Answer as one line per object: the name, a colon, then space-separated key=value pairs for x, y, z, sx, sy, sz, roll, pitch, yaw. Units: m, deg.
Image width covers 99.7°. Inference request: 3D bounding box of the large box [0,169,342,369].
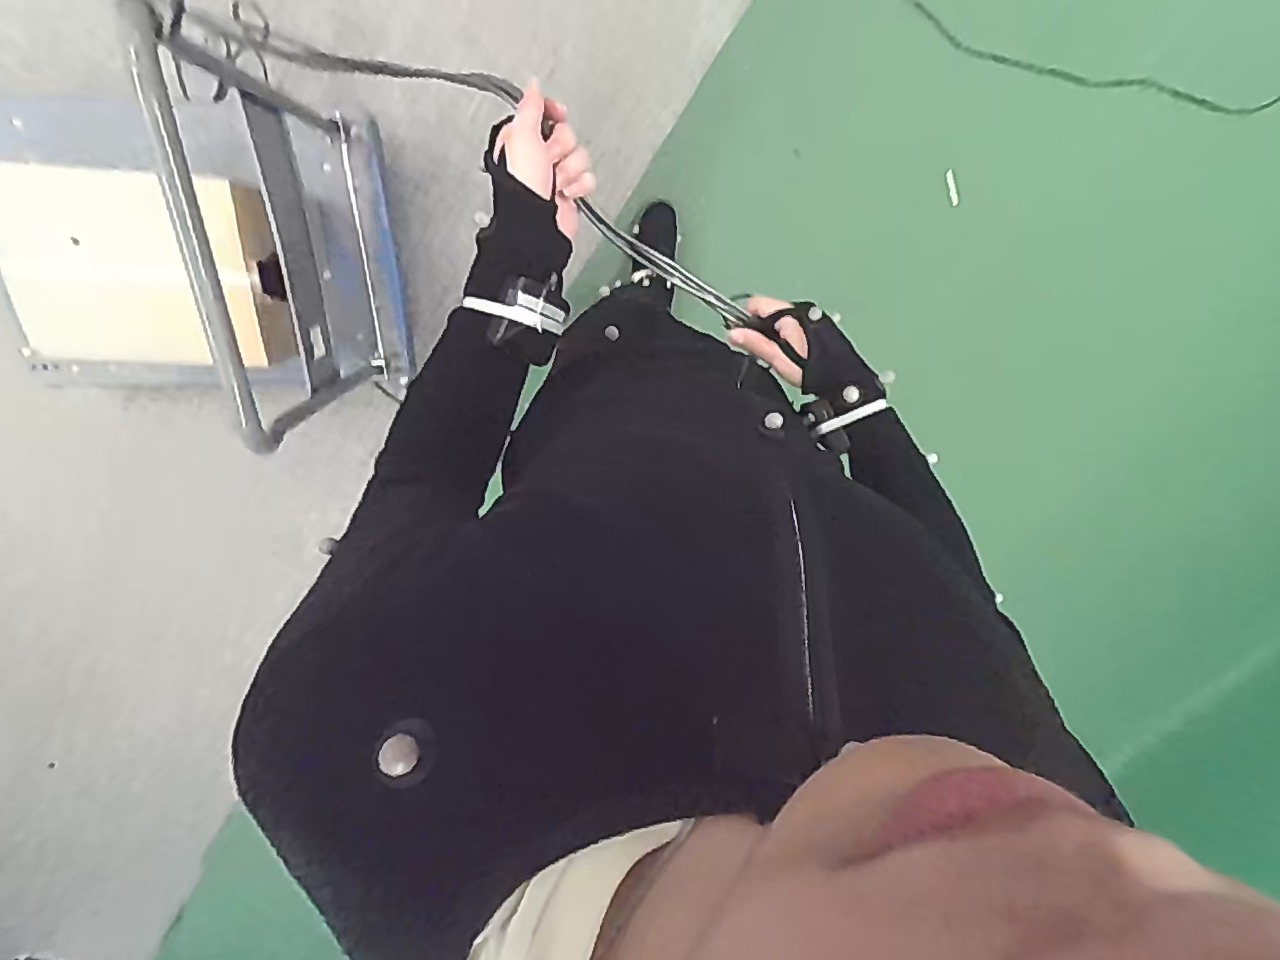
large box: x=-0.879 y=-0.409 z=1.060 sx=0.408 sy=0.320 sz=0.320 roll=1 pitch=113 yaw=-5
